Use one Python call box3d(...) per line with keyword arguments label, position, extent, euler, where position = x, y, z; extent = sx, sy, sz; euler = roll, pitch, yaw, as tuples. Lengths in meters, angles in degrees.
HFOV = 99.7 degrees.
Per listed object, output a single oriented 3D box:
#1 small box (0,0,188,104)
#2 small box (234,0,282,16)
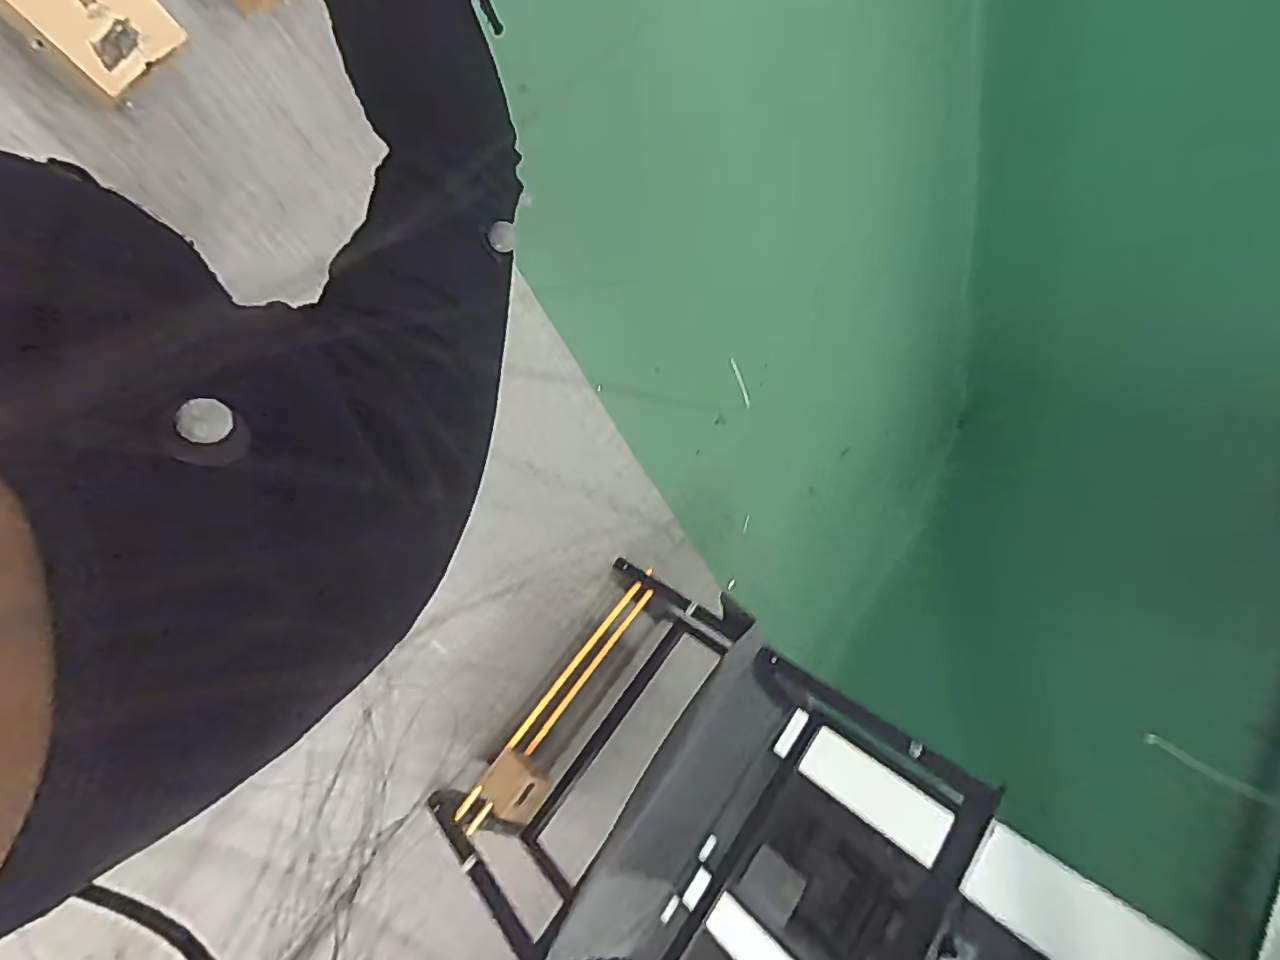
box3d(label="small box", position=(-0.891, -0.744, 0.874), extent=(0.168, 0.176, 0.179), euler=(-54, 137, -14))
box3d(label="small box", position=(-0.697, -0.986, 0.968), extent=(0.168, 0.176, 0.179), euler=(-50, 137, -17))
